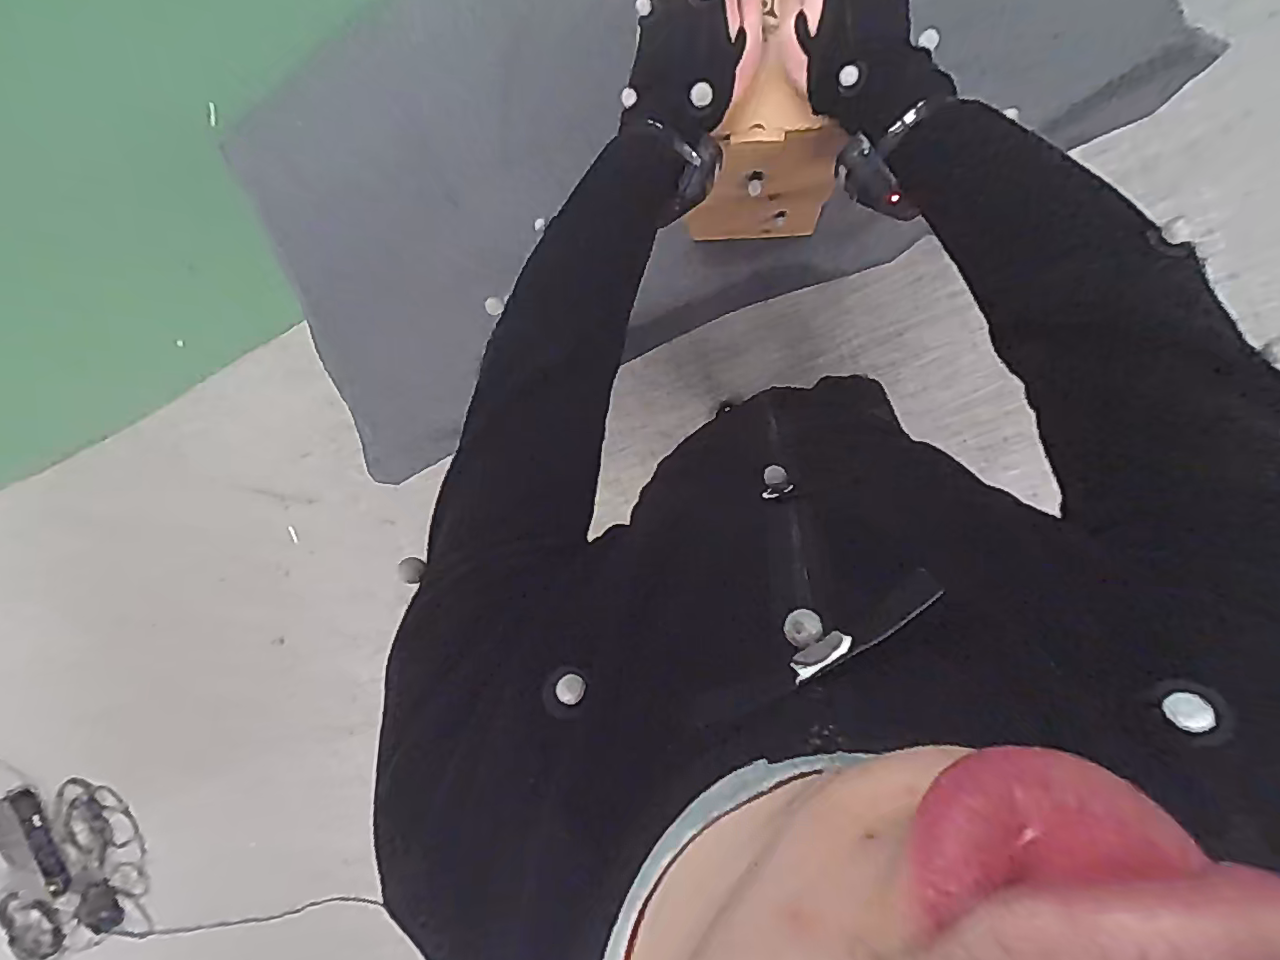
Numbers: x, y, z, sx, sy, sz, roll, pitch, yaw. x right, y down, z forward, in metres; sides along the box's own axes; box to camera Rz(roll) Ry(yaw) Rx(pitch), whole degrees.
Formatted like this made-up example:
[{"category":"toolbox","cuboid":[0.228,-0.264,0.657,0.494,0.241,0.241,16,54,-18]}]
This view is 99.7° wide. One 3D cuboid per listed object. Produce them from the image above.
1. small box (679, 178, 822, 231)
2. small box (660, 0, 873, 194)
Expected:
[{"category":"small box","cuboid":[0.142,-0.417,0.662,0.168,0.176,0.179,2,98,11]},{"category":"small box","cuboid":[0.114,-0.382,0.506,0.168,0.176,0.179,3,101,10]}]
